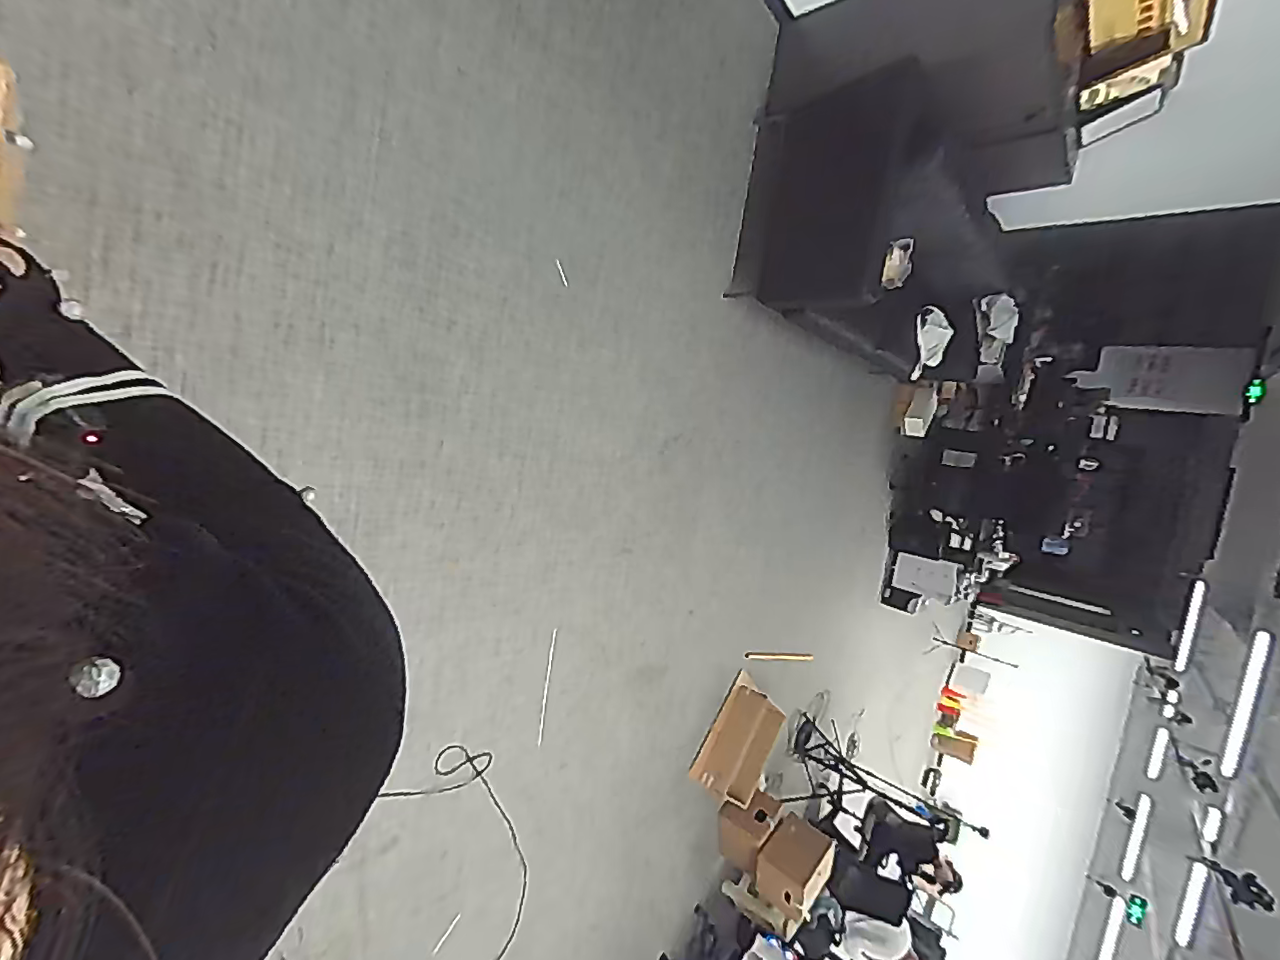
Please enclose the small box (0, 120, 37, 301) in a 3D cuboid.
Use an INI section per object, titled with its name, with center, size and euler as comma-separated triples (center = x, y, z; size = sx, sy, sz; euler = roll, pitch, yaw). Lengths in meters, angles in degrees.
[small box]
center = -0.752, -0.297, 0.547
size = 0.168, 0.176, 0.179
euler = 13, 91, -48
